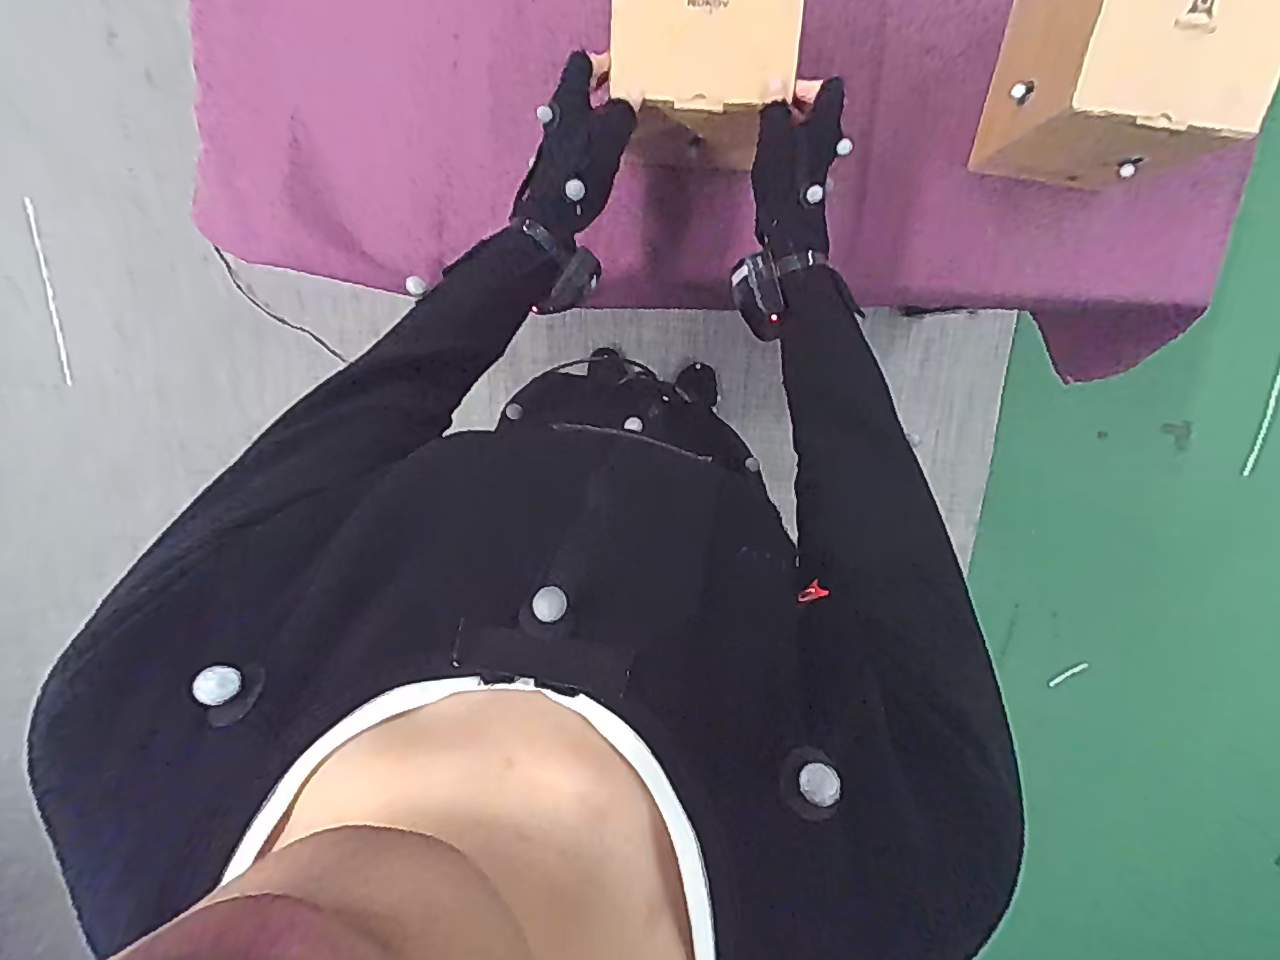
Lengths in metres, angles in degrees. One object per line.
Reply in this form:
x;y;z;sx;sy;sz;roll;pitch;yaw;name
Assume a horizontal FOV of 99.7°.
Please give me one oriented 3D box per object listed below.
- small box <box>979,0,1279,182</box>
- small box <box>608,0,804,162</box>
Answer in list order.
0.467;-0.411;0.521;0.168;0.176;0.179;10;104;0;small box
0.063;-0.437;0.536;0.168;0.176;0.179;4;105;2;small box
